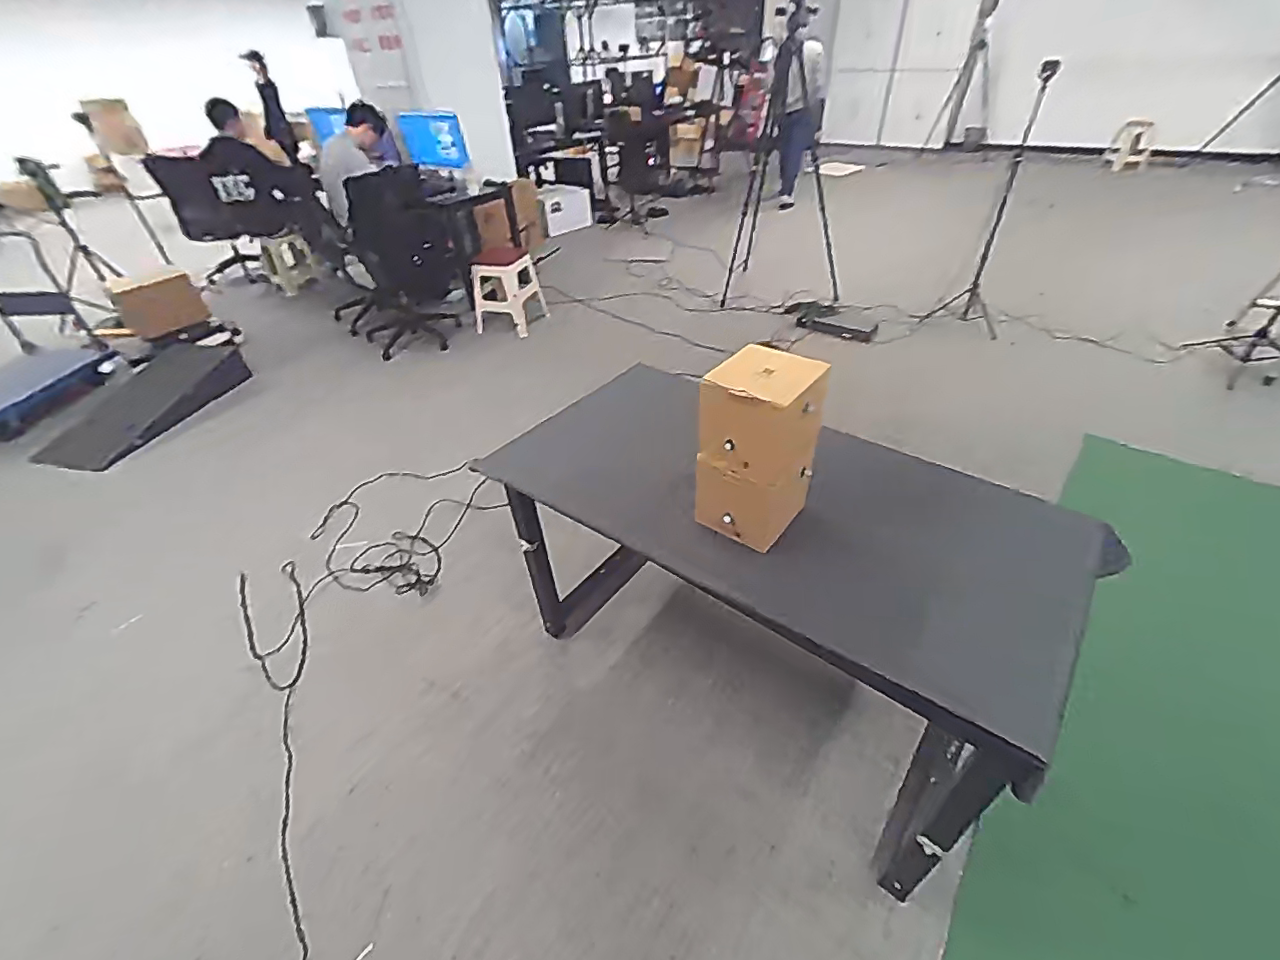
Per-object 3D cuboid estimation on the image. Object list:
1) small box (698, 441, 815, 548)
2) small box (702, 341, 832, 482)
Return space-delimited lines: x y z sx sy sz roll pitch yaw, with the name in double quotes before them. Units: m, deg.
"small box" 0.226 0.001 1.088 0.168 0.176 0.179 25 47 31
"small box" 0.225 -0.128 0.990 0.168 0.176 0.179 26 47 30
